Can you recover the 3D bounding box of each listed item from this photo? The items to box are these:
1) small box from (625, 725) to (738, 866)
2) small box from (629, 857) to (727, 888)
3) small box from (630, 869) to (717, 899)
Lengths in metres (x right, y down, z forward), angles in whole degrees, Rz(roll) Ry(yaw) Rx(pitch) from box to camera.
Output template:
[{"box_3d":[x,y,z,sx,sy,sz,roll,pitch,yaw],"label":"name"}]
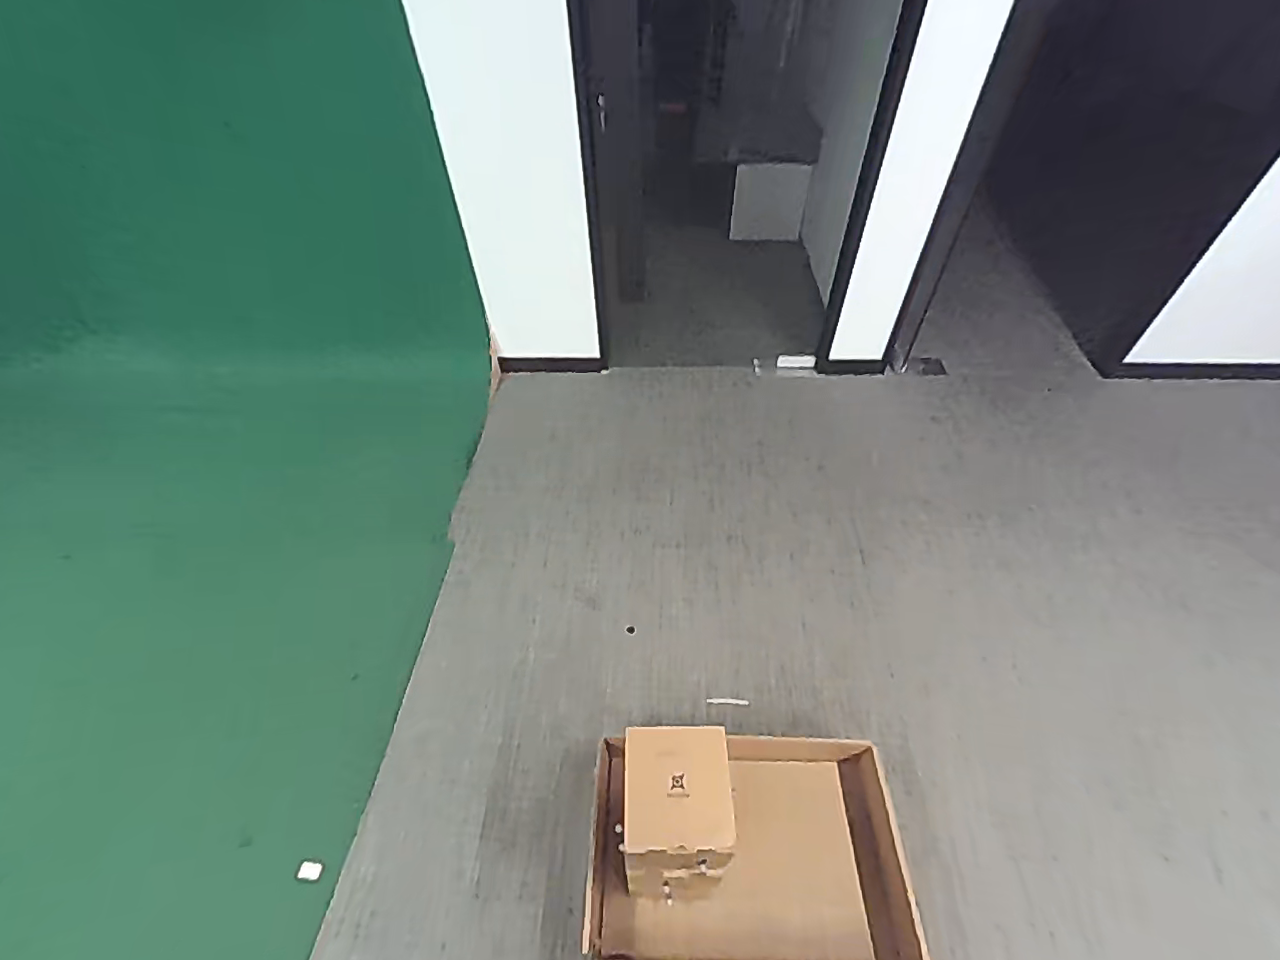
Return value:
[{"box_3d":[0.062,0.520,0.887,0.168,0.176,0.179,0,47,0],"label":"small box"},{"box_3d":[0.066,0.634,1.003,0.168,0.176,0.179,1,48,2],"label":"small box"},{"box_3d":[0.068,0.746,1.122,0.168,0.176,0.179,1,48,3],"label":"small box"}]
